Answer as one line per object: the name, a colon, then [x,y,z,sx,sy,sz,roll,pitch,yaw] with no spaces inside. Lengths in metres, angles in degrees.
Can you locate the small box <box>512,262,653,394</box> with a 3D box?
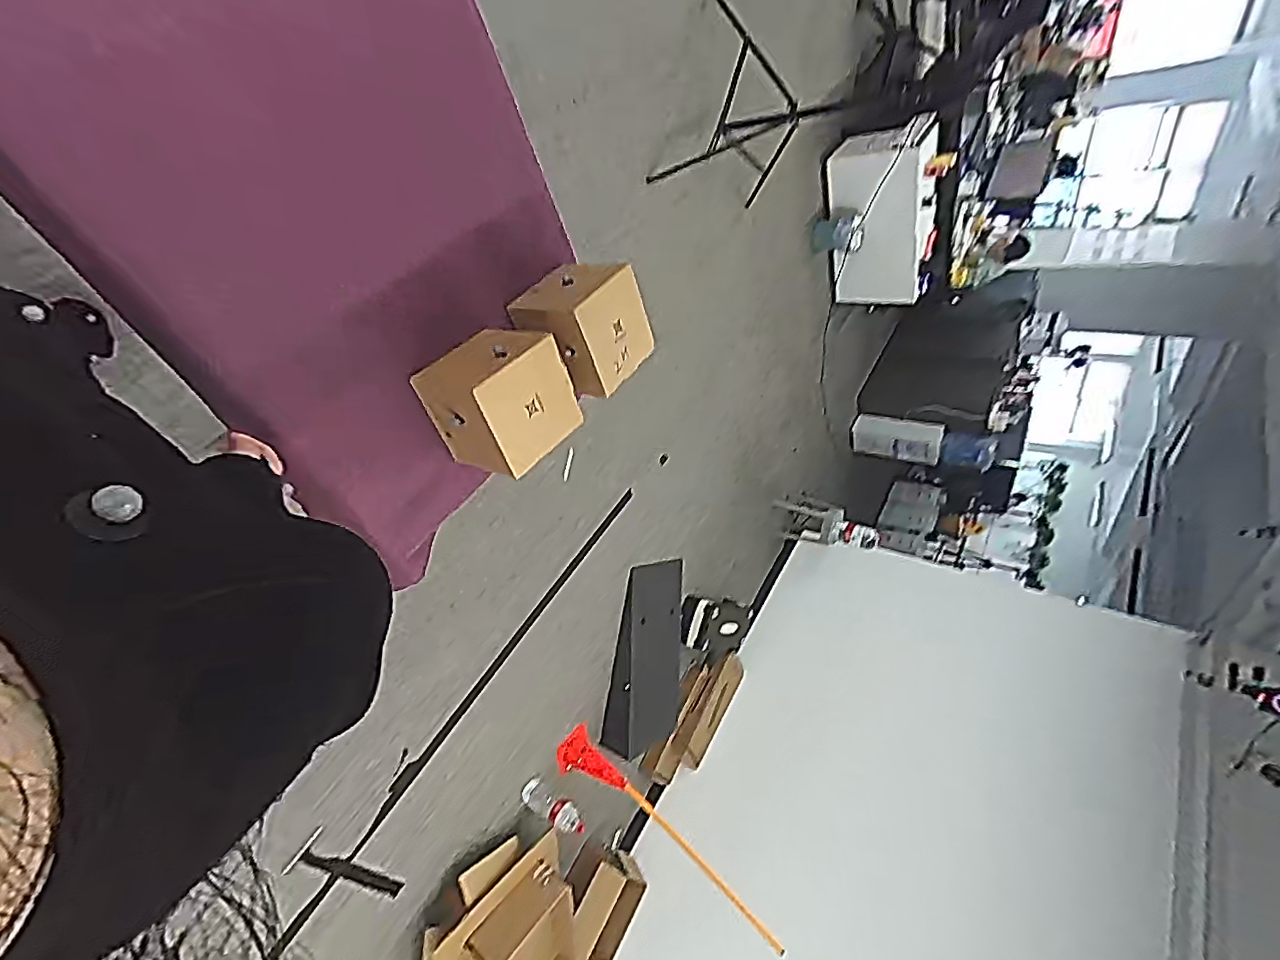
small box: [-0.105,-0.283,1.003,0.168,0.176,0.179,-50,138,-30]

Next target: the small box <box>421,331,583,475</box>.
small box: [-0.231,-0.133,0.895,0.179,0.176,0.168,-49,136,-34]
